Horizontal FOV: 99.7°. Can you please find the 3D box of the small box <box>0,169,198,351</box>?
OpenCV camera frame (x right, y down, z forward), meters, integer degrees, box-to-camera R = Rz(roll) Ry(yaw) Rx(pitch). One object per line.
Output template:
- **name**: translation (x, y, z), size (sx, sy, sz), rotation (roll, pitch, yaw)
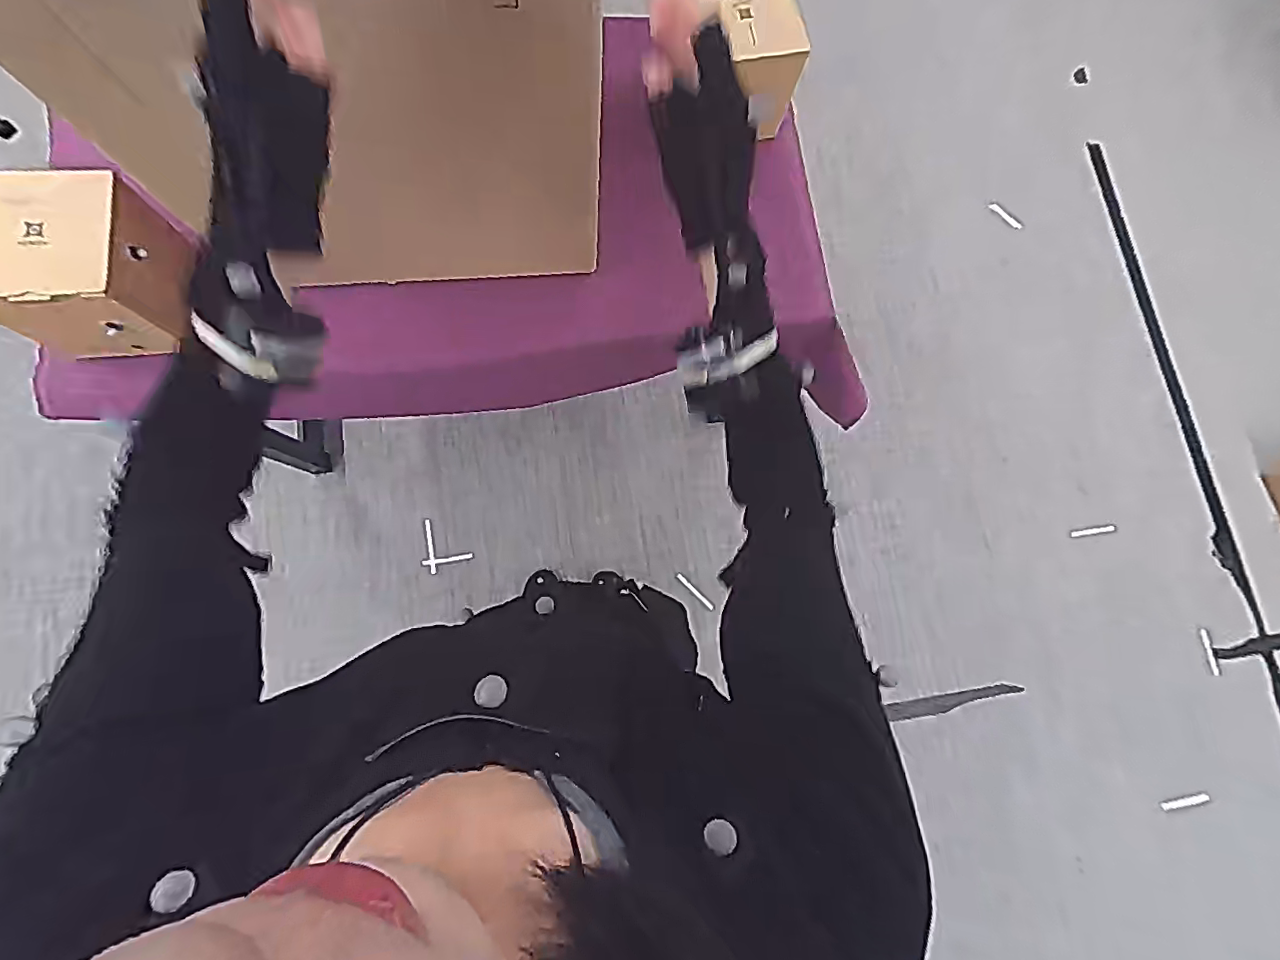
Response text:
- **small box**: translation (-0.744, -0.286, 0.735), size (0.168, 0.176, 0.179), rotation (-5, 78, -10)
